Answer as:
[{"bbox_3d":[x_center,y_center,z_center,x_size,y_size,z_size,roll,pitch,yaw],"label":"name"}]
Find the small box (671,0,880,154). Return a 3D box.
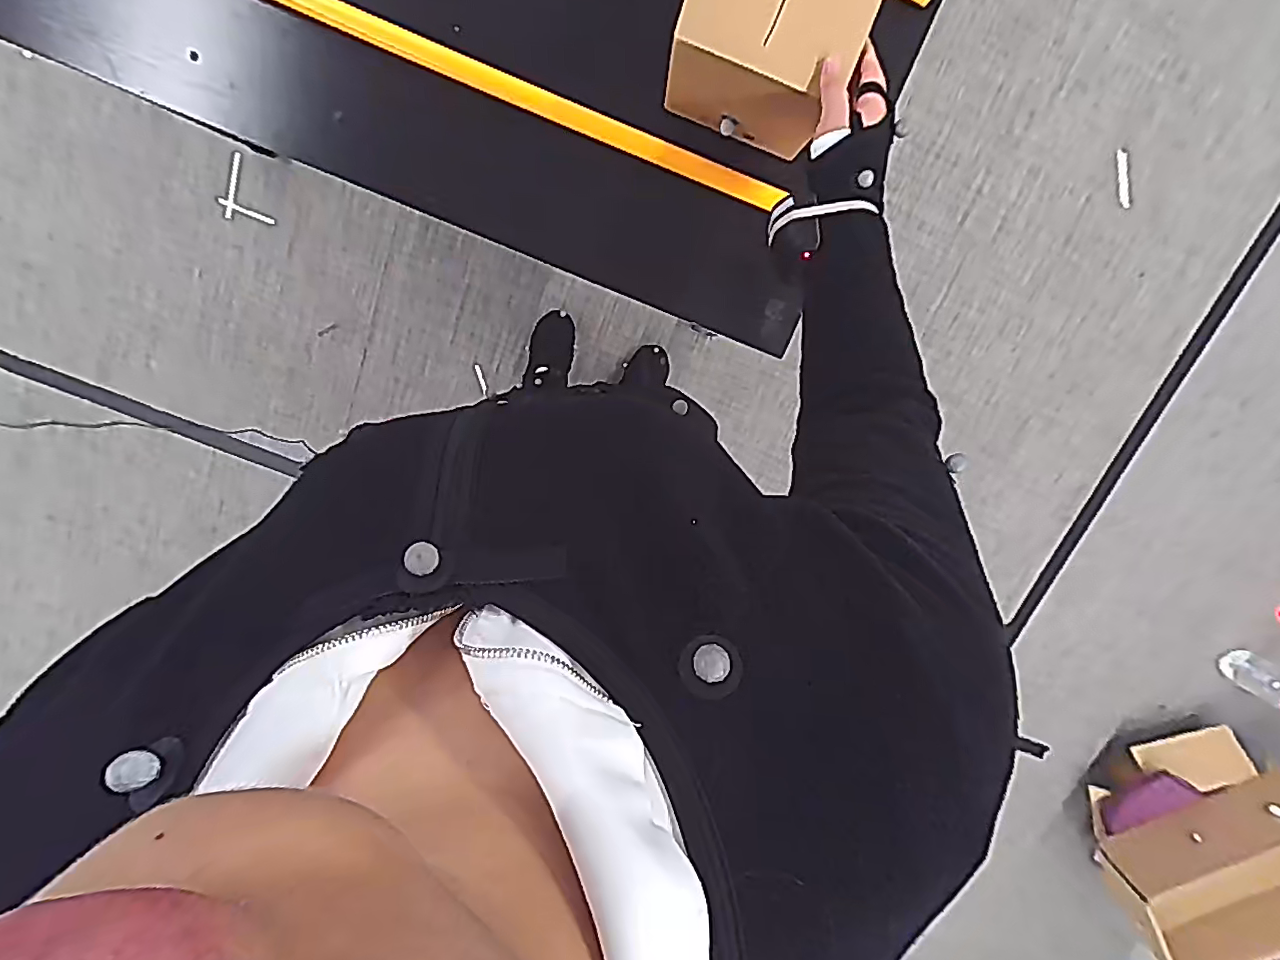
[{"bbox_3d":[0.135,-0.473,0.549,0.168,0.176,0.179,19,105,-5],"label":"small box"}]
